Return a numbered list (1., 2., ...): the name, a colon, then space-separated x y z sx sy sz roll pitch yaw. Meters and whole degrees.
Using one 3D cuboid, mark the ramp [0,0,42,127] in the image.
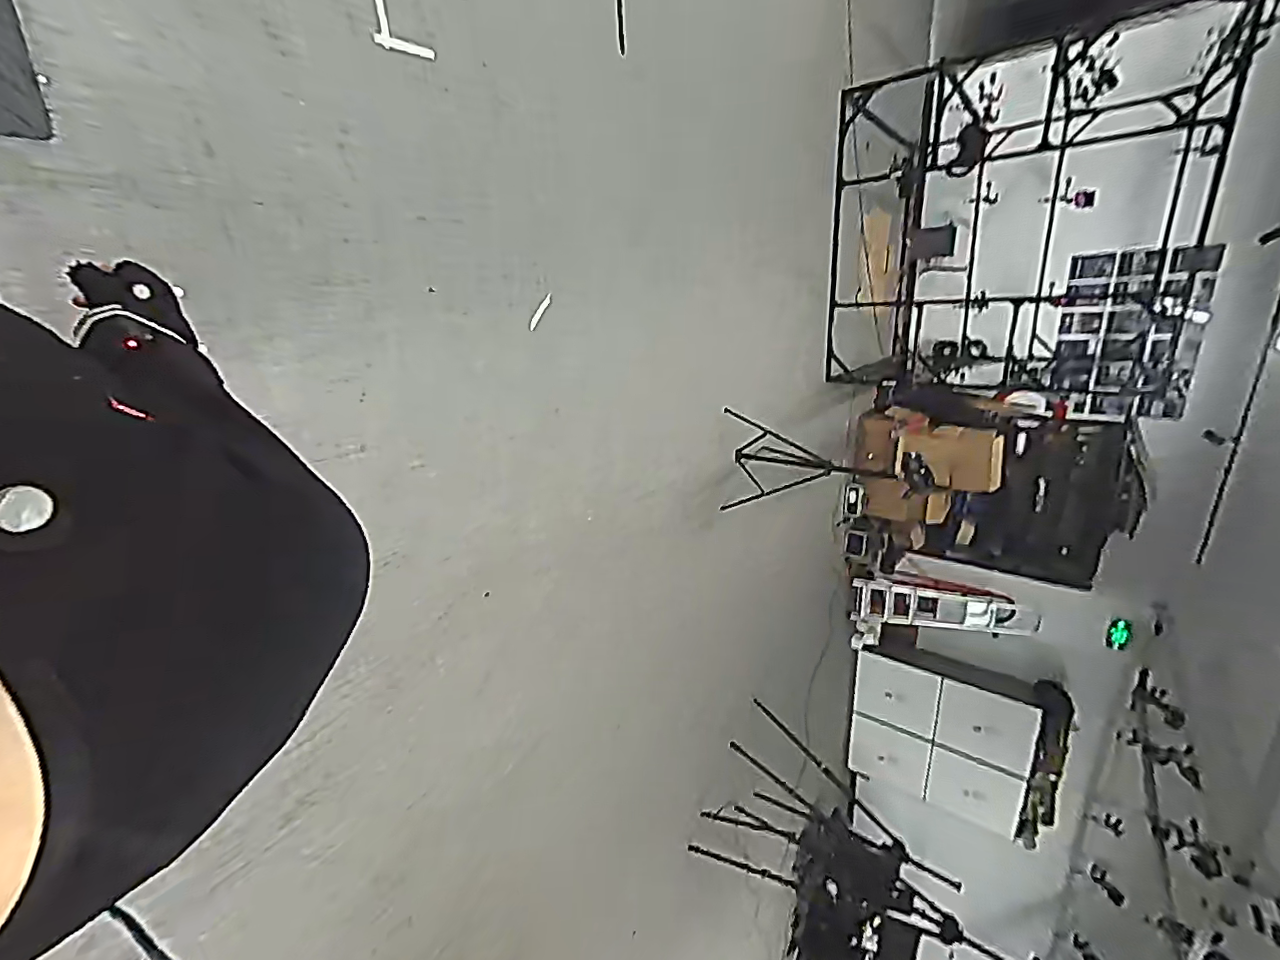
1. ramp: -1.168 -1.013 0.587 0.509 0.206 0.991 -28 121 -48
